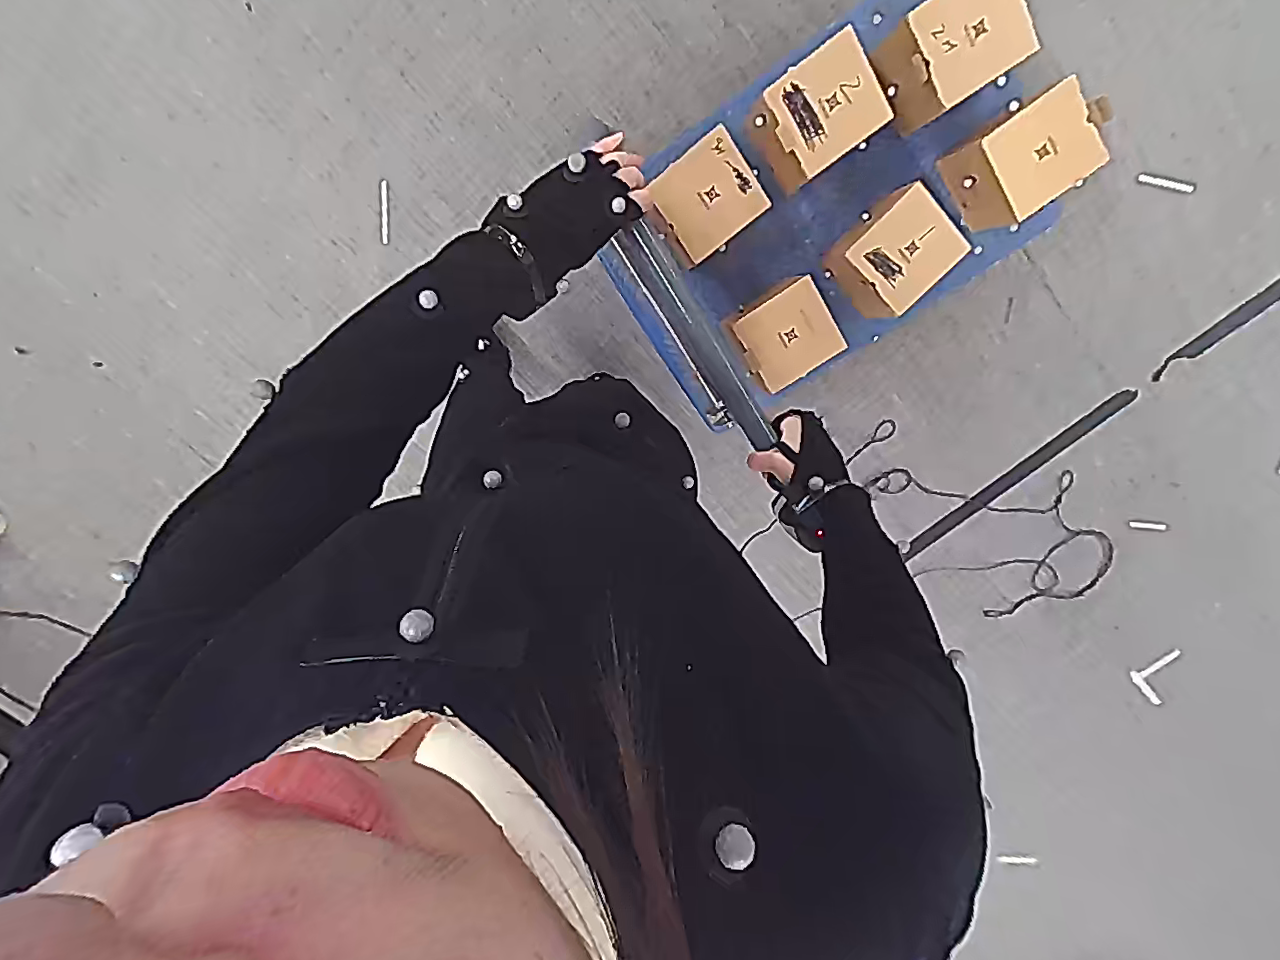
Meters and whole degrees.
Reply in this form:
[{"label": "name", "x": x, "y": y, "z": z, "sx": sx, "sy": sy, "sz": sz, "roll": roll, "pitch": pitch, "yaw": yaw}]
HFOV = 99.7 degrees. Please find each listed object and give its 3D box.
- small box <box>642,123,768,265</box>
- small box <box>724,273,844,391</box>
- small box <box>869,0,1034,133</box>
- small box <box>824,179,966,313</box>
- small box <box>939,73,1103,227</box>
[{"label": "small box", "x": 0.121, "y": -0.543, "z": 1.059, "sx": 0.179, "sy": 0.176, "sz": 0.168, "roll": -36, "pitch": 106, "yaw": 11}, {"label": "small box", "x": 0.290, "y": -0.312, "z": 1.139, "sx": 0.179, "sy": 0.176, "sz": 0.168, "roll": -32, "pitch": 106, "yaw": 9}, {"label": "small box", "x": 0.555, "y": -0.779, "z": 0.983, "sx": 0.179, "sy": 0.176, "sz": 0.168, "roll": -30, "pitch": 105, "yaw": 10}, {"label": "small box", "x": 0.497, "y": -0.458, "z": 1.090, "sx": 0.168, "sy": 0.176, "sz": 0.179, "roll": 43, "pitch": 102, "yaw": -13}, {"label": "small box", "x": 0.714, "y": -0.616, "z": 1.040, "sx": 0.179, "sy": 0.176, "sz": 0.168, "roll": -35, "pitch": 105, "yaw": 11}]
